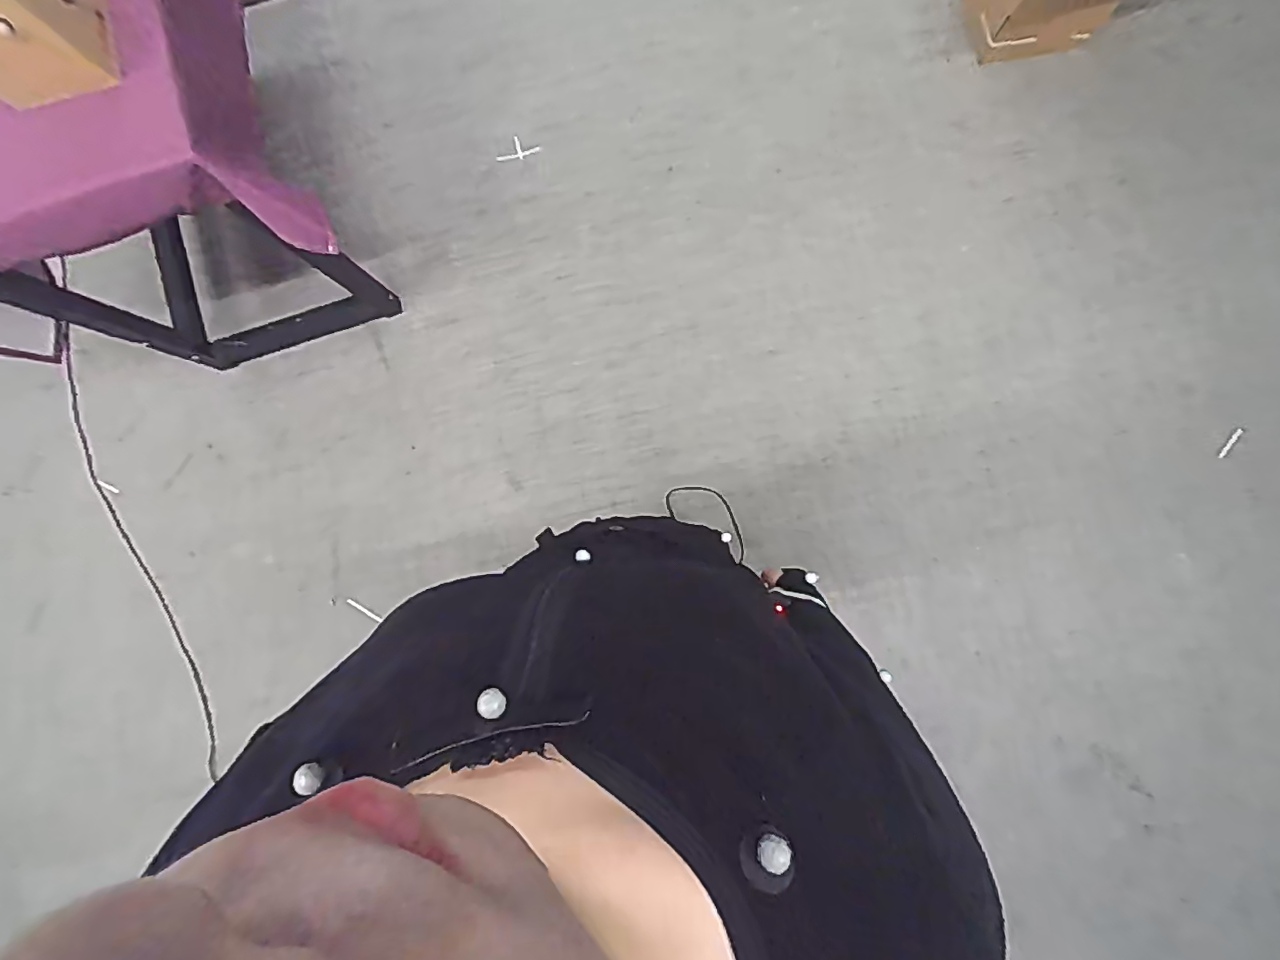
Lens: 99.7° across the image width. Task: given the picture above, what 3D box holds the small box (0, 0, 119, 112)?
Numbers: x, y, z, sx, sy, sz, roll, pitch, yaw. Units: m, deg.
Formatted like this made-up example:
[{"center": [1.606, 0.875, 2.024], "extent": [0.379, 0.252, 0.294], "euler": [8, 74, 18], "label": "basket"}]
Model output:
[{"center": [-0.926, -0.692, 0.797], "extent": [0.179, 0.176, 0.168], "euler": [-14, 85, 3], "label": "small box"}]
